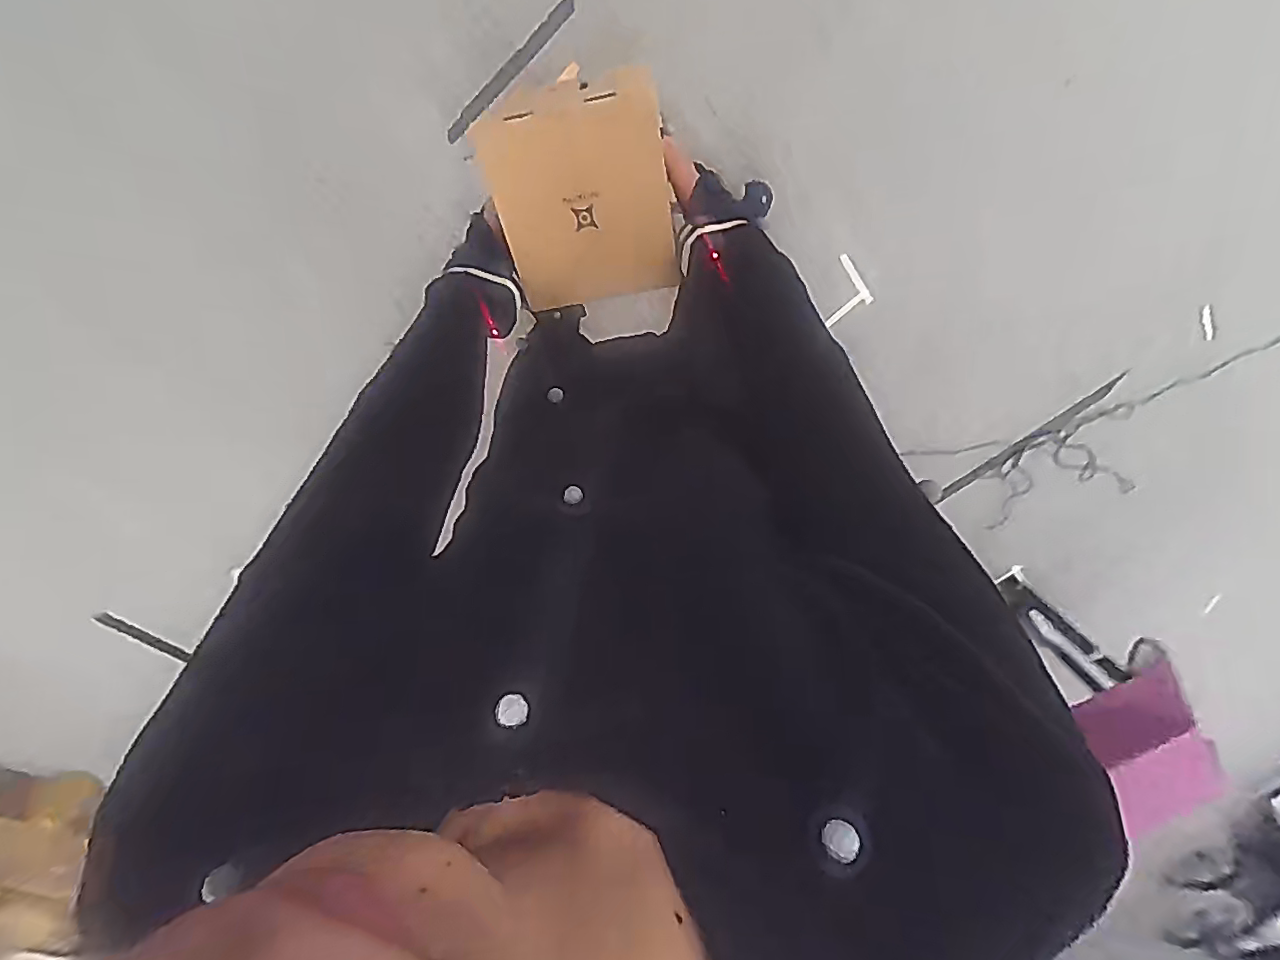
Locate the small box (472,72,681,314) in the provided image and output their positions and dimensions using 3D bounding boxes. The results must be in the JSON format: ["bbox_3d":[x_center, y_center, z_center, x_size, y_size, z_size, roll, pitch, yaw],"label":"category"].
[{"bbox_3d":[-0.050,-0.305,0.576,0.168,0.176,0.179,-9,130,8],"label":"small box"}]
